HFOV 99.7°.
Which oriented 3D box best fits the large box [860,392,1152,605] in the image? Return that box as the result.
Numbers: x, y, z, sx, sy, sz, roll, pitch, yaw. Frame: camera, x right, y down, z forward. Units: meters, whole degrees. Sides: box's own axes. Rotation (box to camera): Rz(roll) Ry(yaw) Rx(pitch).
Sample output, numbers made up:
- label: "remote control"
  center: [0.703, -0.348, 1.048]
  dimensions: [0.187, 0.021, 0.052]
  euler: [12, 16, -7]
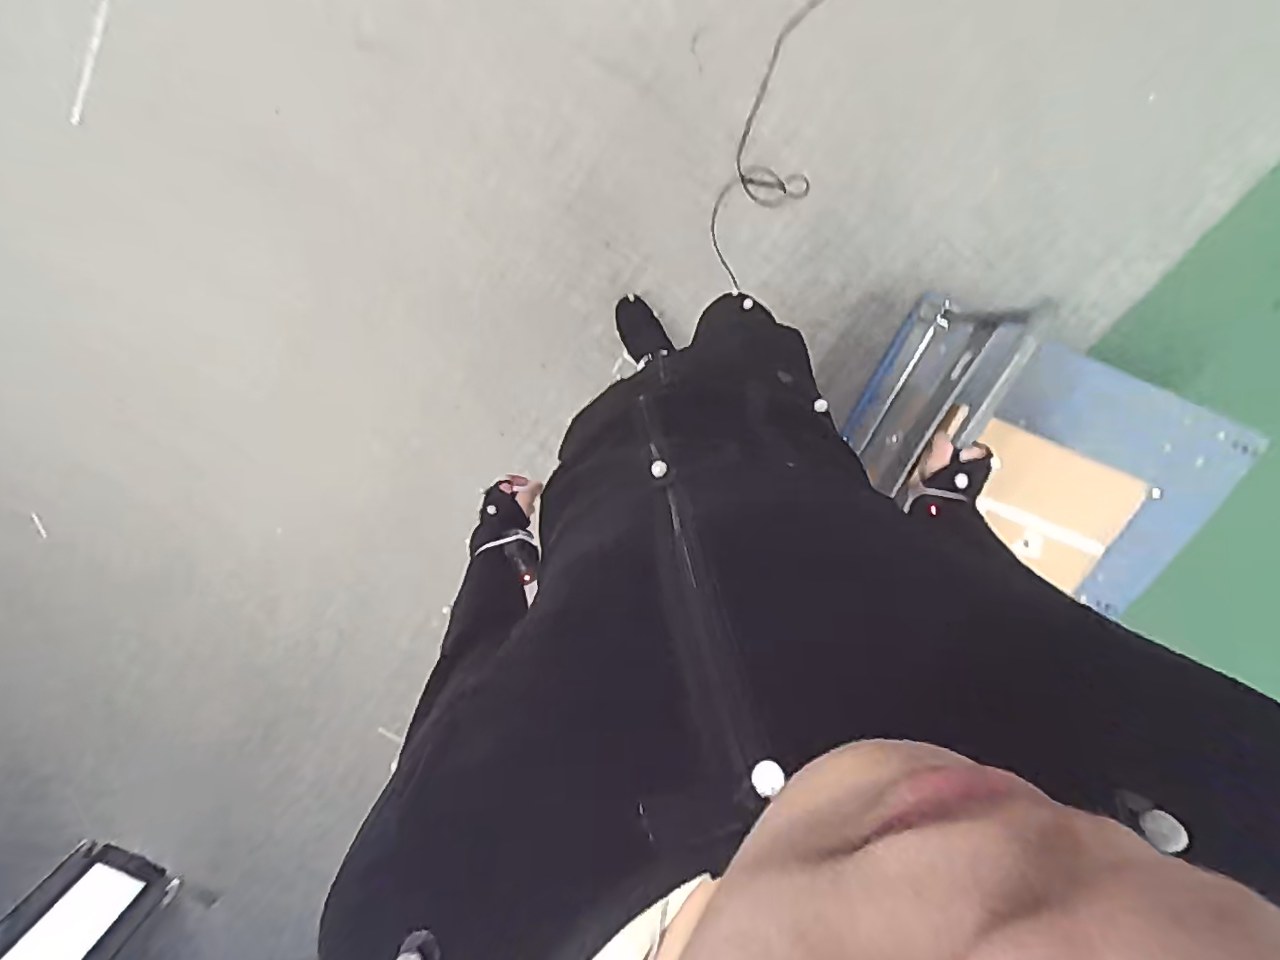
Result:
- label: "large box"
  center: [0.799, 0.020, 1.263]
  dimensions: [0.408, 0.320, 0.320]
  euler: [24, 110, 2]
